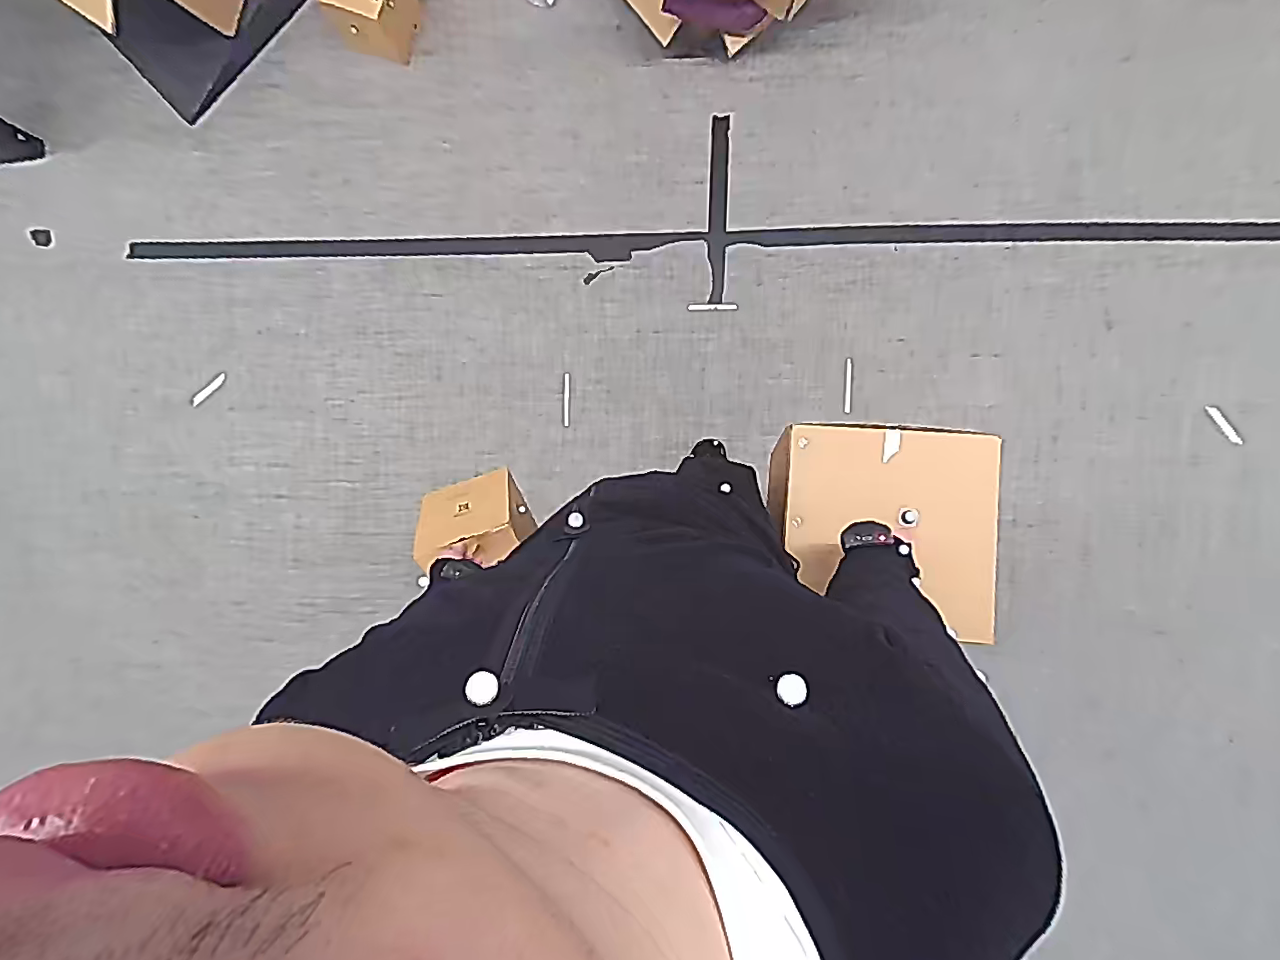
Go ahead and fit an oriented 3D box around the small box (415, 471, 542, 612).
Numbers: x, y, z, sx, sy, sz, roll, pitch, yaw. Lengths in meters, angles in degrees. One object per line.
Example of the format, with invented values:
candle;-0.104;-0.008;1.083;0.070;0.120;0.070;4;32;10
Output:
small box;-0.286;0.119;0.992;0.168;0.179;0.176;-19;126;-2
